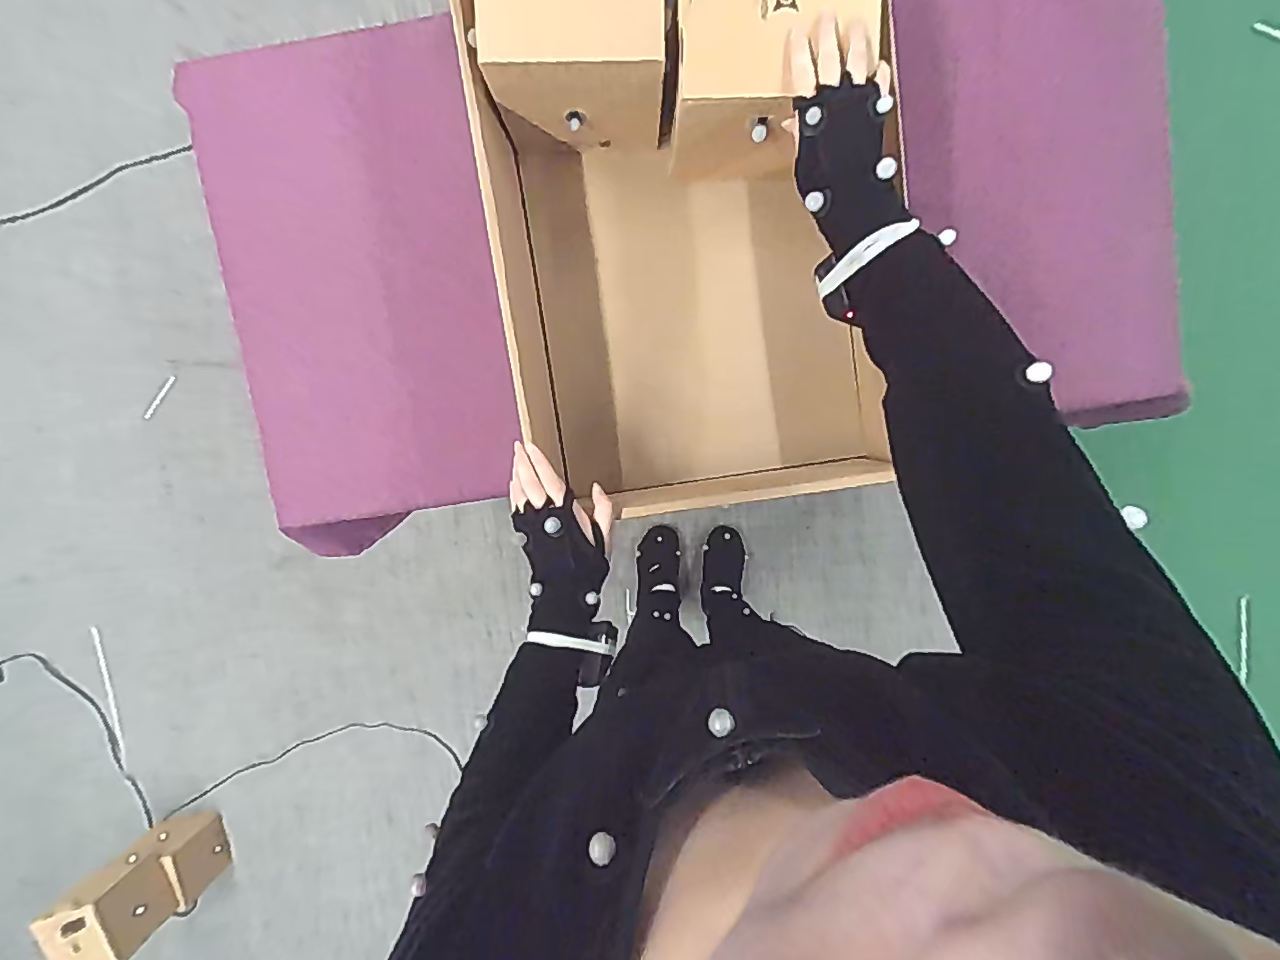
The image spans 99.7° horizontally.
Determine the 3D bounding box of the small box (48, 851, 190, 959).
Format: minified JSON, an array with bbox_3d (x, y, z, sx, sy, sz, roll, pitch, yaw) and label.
[{"bbox_3d":[-1.320,1.094,1.384,0.168,0.176,0.179,-19,96,5],"label":"small box"}]
